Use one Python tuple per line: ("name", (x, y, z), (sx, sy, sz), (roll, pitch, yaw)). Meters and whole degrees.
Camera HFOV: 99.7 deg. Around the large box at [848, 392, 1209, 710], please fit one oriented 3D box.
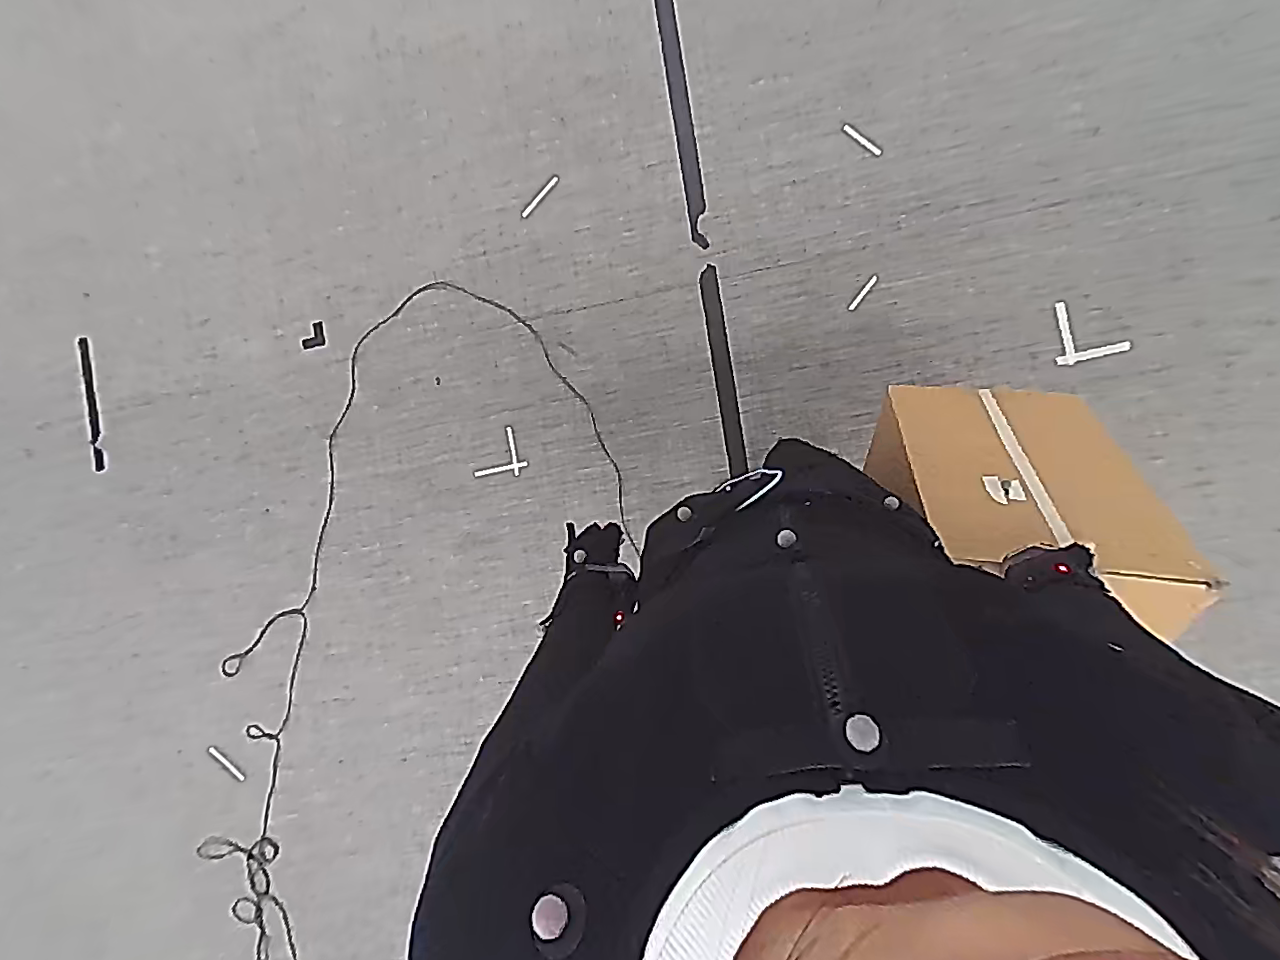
("large box", (0.552, 0.098, 0.892), (0.320, 0.408, 0.320), (4, 133, 11))
